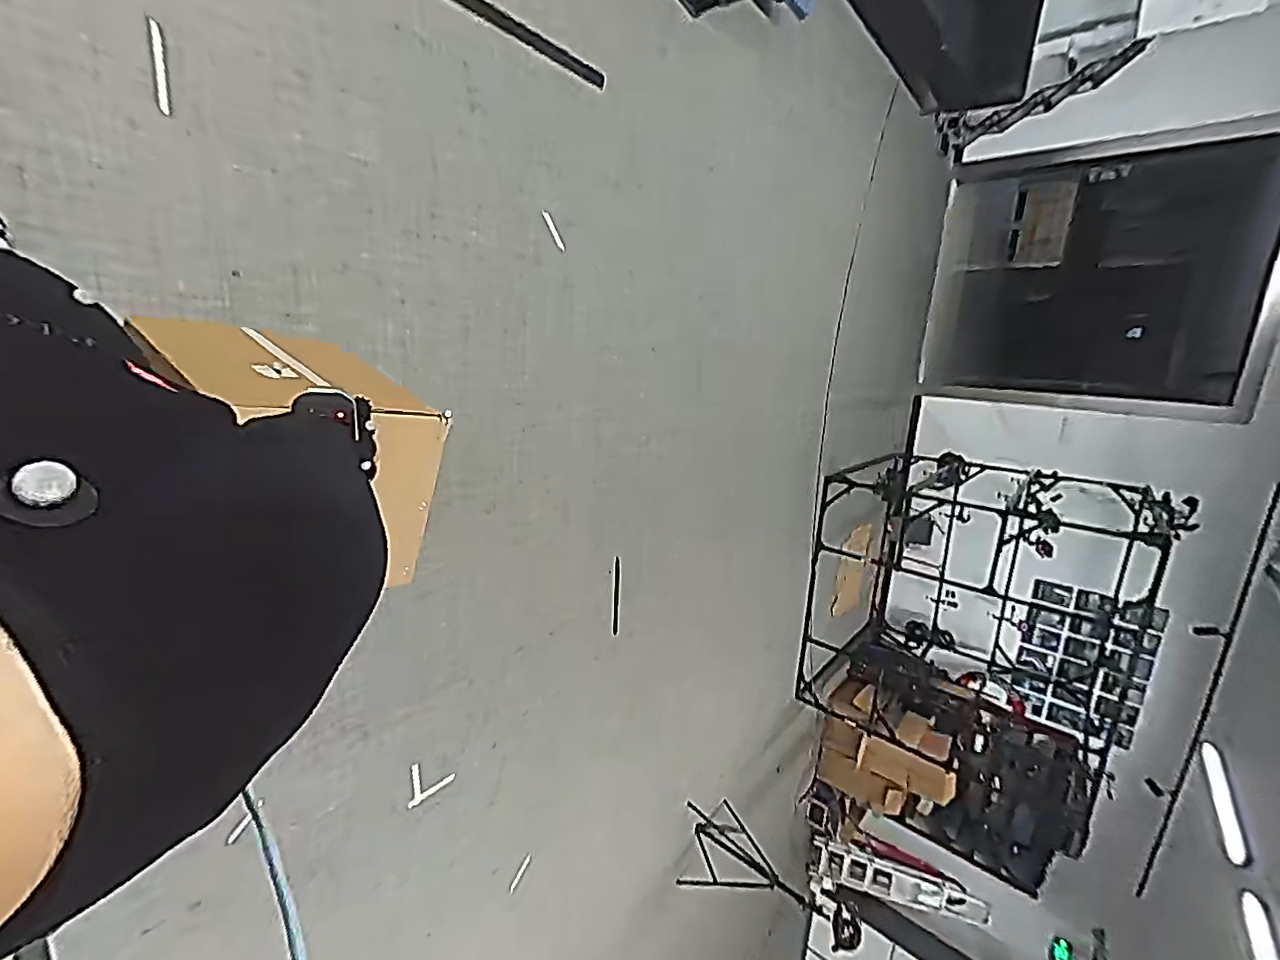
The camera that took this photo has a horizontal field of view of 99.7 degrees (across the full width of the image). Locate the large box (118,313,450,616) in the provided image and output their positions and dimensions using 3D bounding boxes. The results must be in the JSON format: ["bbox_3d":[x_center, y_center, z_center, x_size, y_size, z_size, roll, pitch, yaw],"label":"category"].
[{"bbox_3d":[-0.592,-0.042,0.890,0.320,0.408,0.320,-6,121,-55],"label":"large box"}]
